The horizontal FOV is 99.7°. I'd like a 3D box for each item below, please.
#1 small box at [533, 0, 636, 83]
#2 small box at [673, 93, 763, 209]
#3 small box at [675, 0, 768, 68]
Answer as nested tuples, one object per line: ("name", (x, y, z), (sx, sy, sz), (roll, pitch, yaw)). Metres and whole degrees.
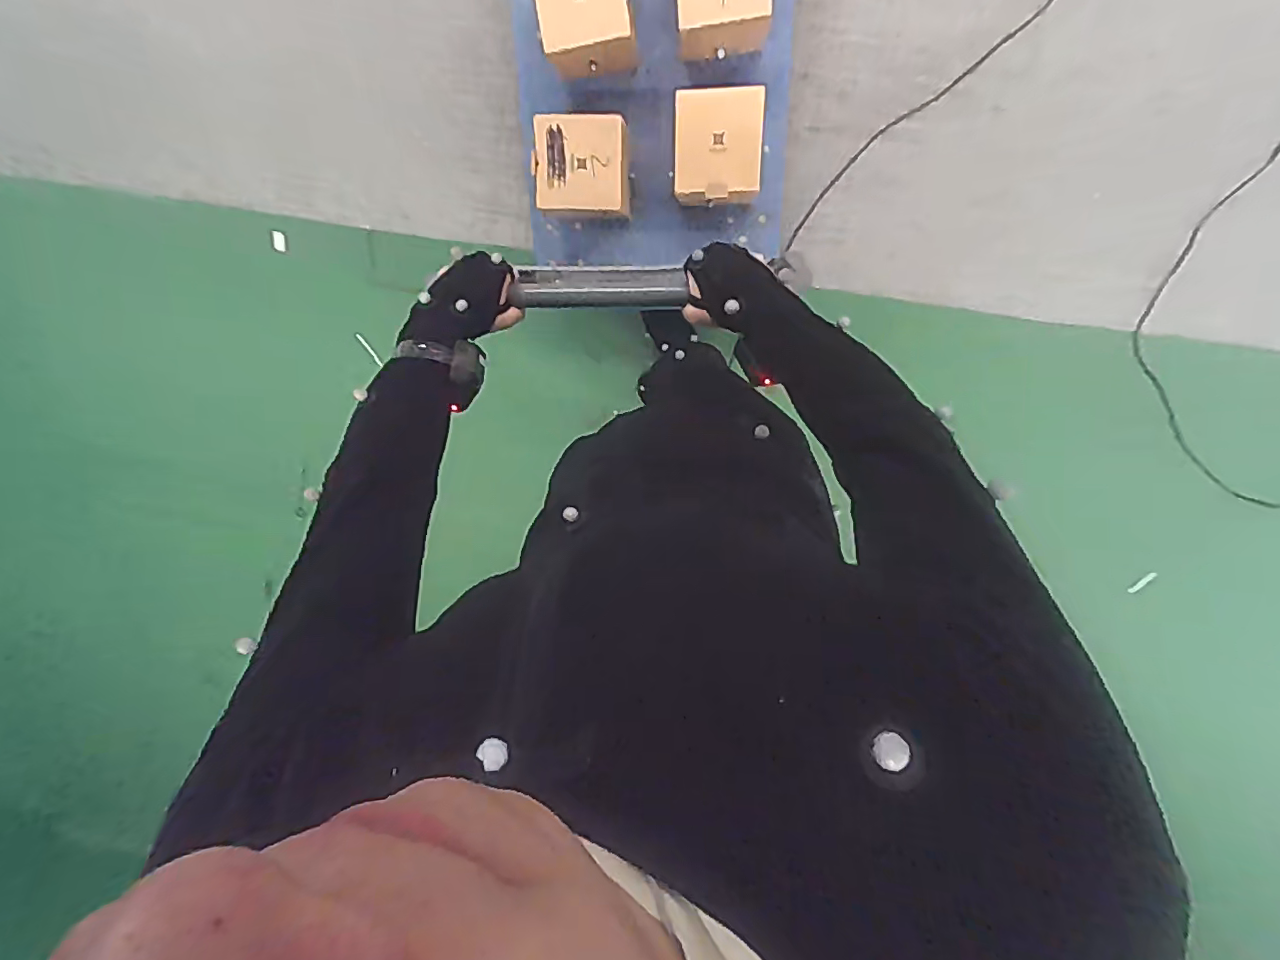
("small box", (-0.105, -0.901, 1.047), (0.168, 0.176, 0.179), (-5, 110, 8))
("small box", (0.154, -0.663, 1.108), (0.168, 0.176, 0.179), (2, 112, 6))
("small box", (0.149, -0.914, 1.012), (0.168, 0.176, 0.179), (-2, 111, 8))
